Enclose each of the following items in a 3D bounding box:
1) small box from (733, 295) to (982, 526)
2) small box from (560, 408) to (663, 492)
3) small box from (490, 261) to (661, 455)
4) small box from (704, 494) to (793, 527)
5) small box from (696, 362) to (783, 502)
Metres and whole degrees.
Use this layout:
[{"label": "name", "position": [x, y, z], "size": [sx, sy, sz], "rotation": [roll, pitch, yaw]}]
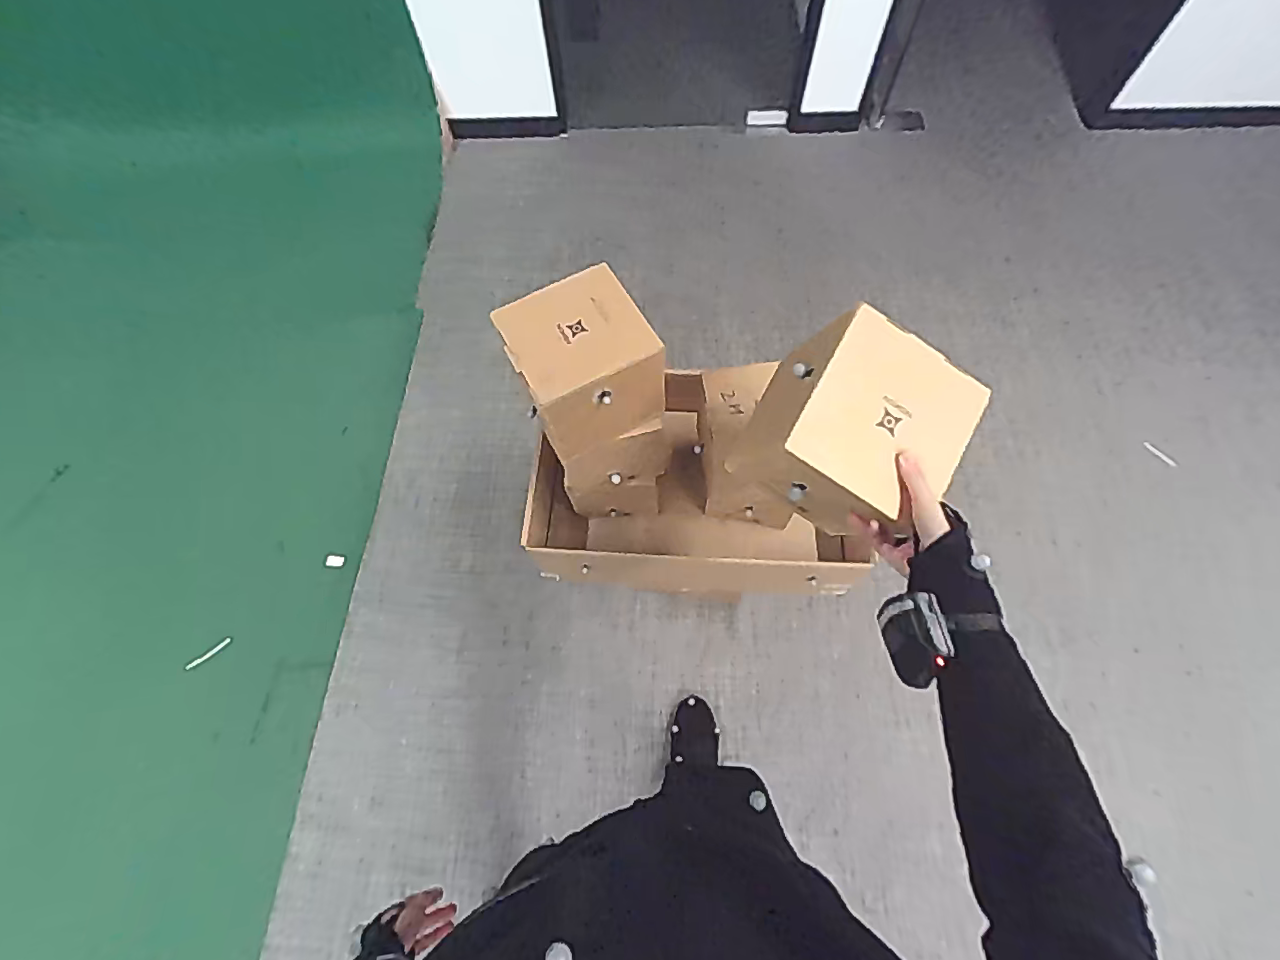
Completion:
[{"label": "small box", "position": [0.224, -0.060, 0.603], "size": [0.168, 0.176, 0.179], "rotation": [31, 78, -5]}, {"label": "small box", "position": [-0.061, -0.103, 0.909], "size": [0.168, 0.176, 0.179], "rotation": [-13, 66, -3]}, {"label": "small box", "position": [-0.080, -0.161, 0.757], "size": [0.179, 0.176, 0.168], "rotation": [-26, 68, -9]}, {"label": "small box", "position": [0.219, -0.024, 1.043], "size": [0.168, 0.176, 0.179], "rotation": [11, 67, 8]}, {"label": "small box", "position": [0.190, -0.074, 0.885], "size": [0.179, 0.176, 0.168], "rotation": [-5, 64, 1]}]
